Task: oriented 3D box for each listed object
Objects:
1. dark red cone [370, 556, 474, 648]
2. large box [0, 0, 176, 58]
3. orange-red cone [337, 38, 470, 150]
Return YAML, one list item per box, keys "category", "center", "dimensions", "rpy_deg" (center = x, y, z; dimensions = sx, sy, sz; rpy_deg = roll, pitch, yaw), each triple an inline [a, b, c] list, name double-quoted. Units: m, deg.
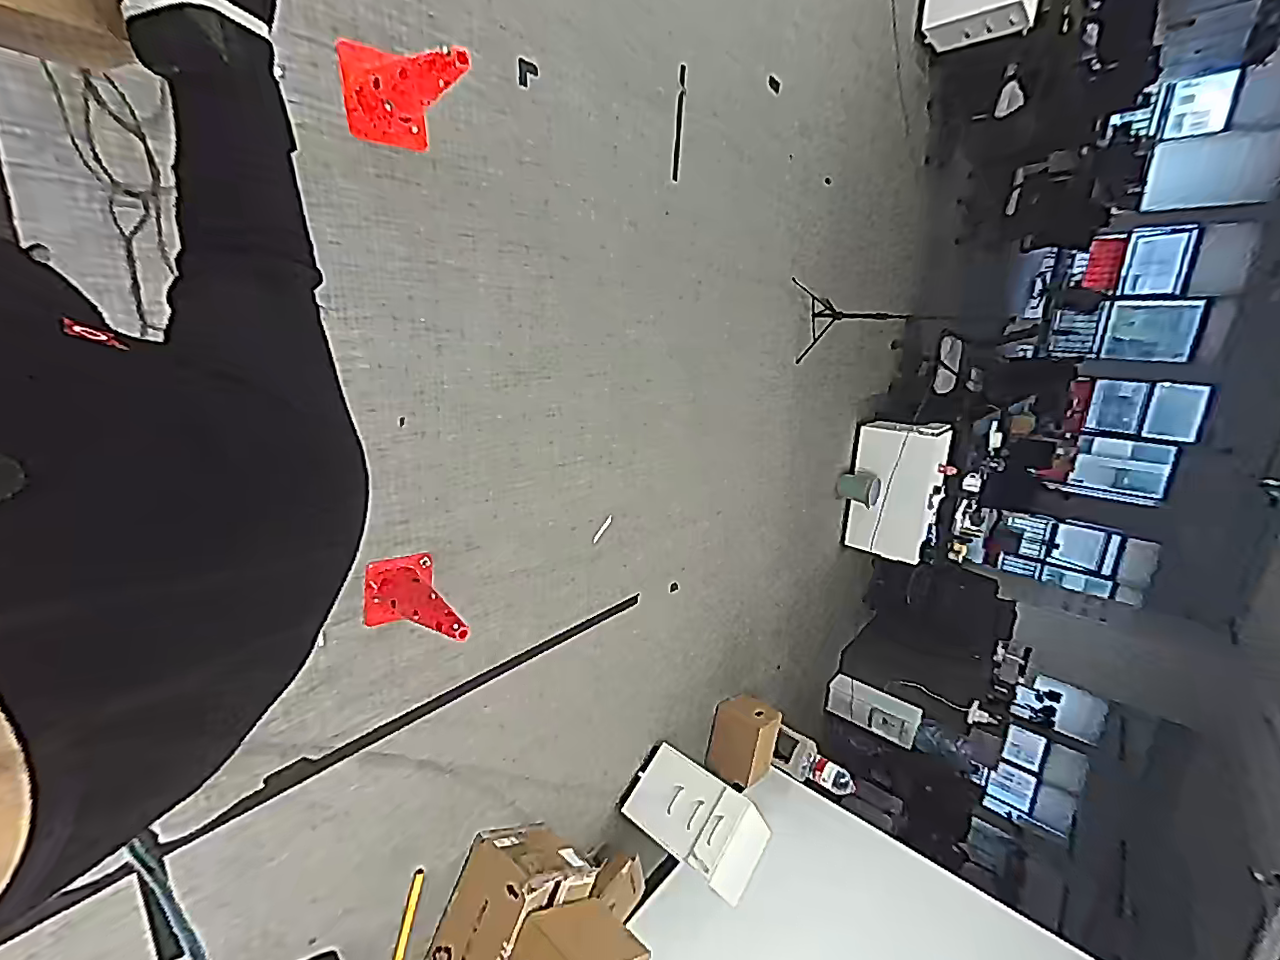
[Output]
- category: "dark red cone"
  center: [-0.576, 0.364, 1.496]
  dimensions: [0.201, 0.394, 0.202]
  rpy_deg: [-6, 107, -48]
- category: "large box"
  center: [-0.537, -0.460, 0.254]
  dimensions: [0.408, 0.320, 0.320]
  rpy_deg: [-17, 126, -47]
- category: "orange-red cone"
  center: [-0.497, -0.902, 1.211]
  dimensions: [0.198, 0.360, 0.199]
  rpy_deg: [-19, 115, -47]
